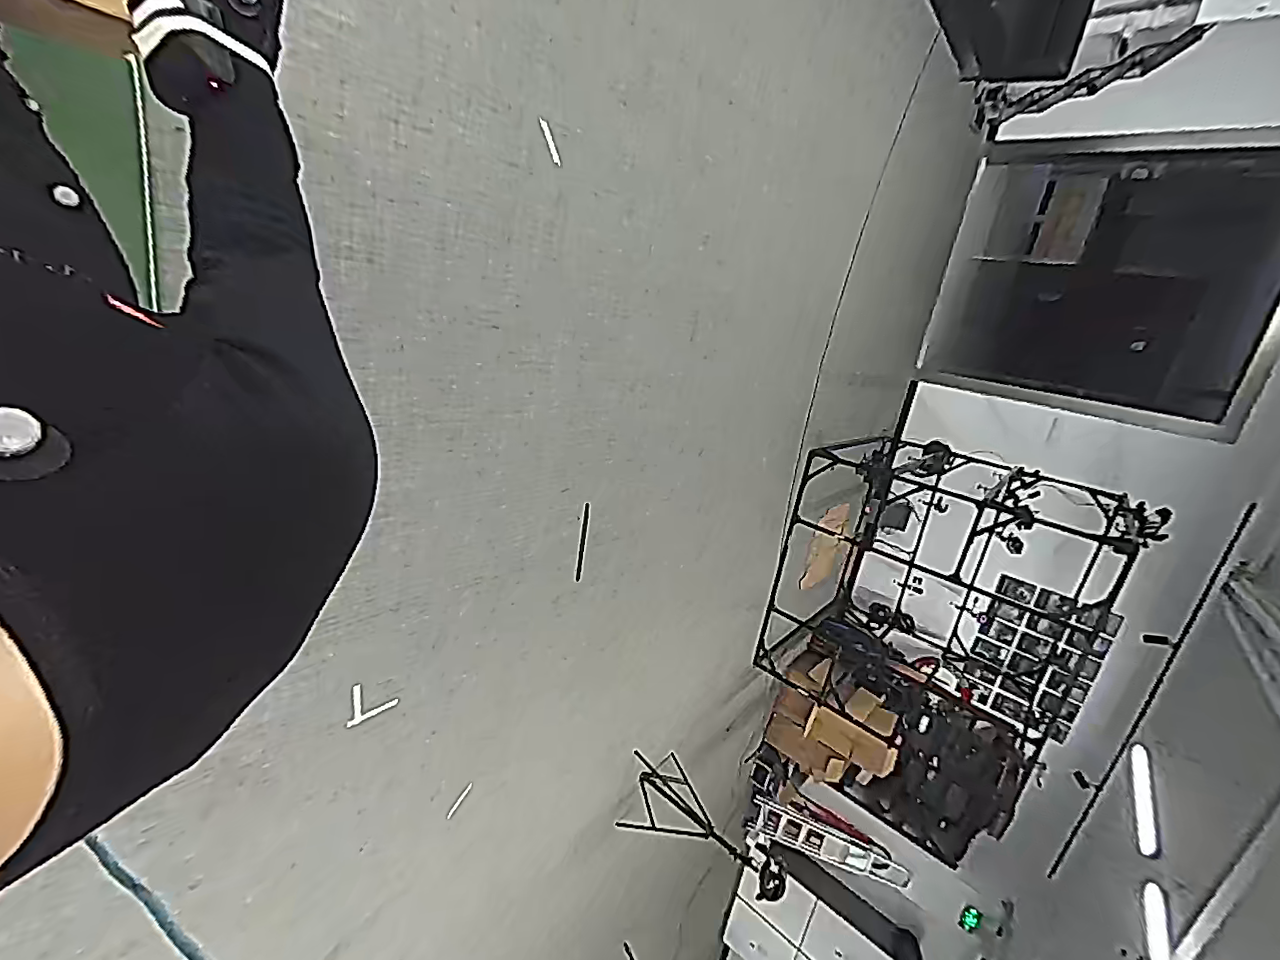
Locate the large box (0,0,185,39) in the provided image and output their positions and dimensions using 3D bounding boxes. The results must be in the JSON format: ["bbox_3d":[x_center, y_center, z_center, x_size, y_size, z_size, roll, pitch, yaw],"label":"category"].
[{"bbox_3d":[-0.565,-0.529,0.305,0.408,0.320,0.320,-12,123,-50],"label":"large box"}]
